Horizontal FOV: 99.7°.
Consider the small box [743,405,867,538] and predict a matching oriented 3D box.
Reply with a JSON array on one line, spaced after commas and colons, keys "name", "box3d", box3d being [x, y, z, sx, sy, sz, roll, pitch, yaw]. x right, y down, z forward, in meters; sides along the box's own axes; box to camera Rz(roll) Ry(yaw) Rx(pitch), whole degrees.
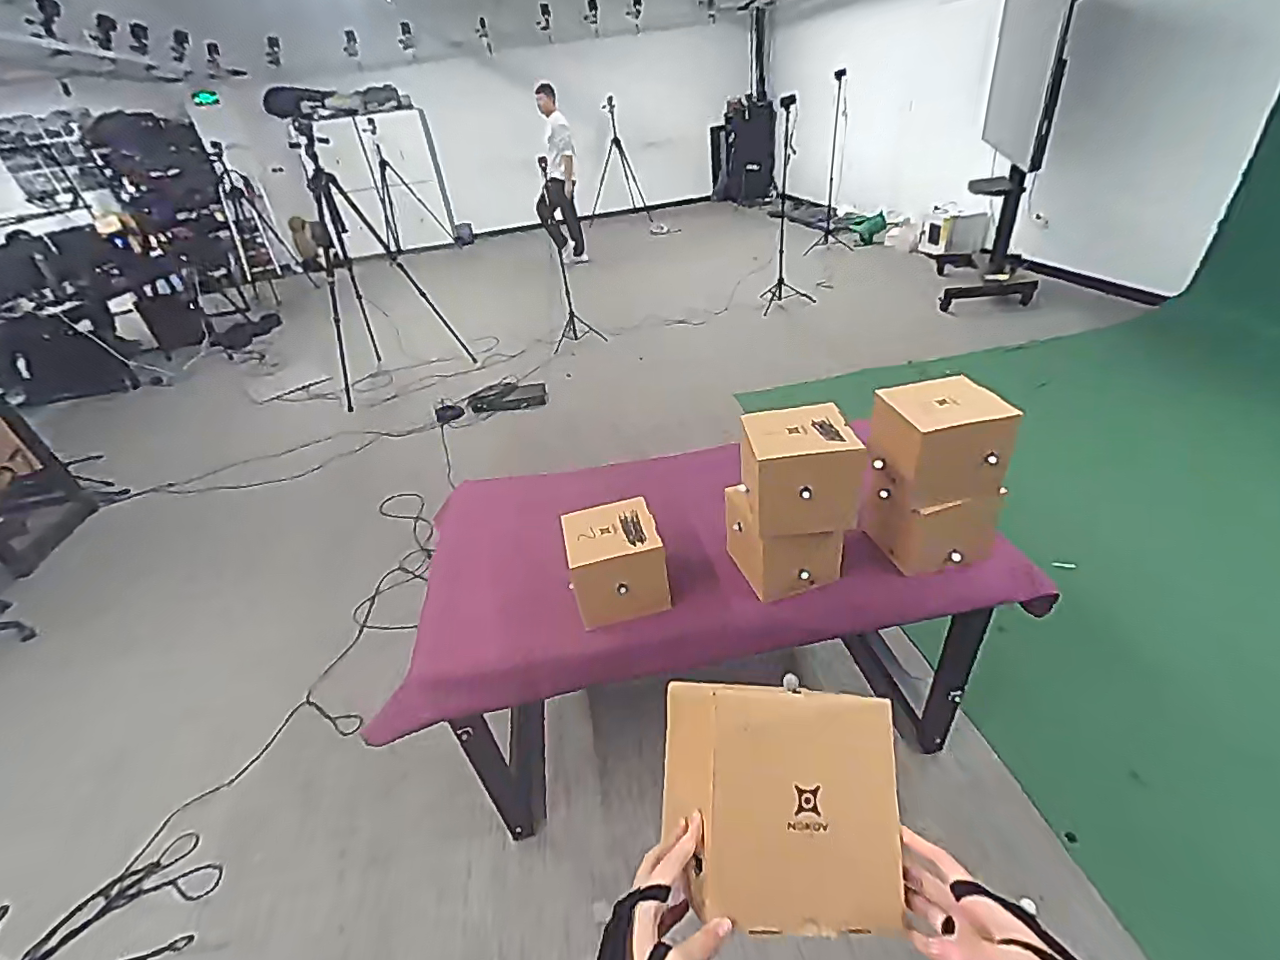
[{"name": "small box", "box3d": [0.284, -0.015, 0.970, 0.179, 0.176, 0.168, -7, 33, 4]}]

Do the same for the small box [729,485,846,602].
[{"name": "small box", "box3d": [0.286, 0.110, 1.080, 0.168, 0.176, 0.179, -15, 34, -8]}]

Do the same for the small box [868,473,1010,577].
[{"name": "small box", "box3d": [0.580, 0.065, 1.077, 0.179, 0.176, 0.168, -13, 34, -6]}]

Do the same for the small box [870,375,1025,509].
[{"name": "small box", "box3d": [0.547, -0.070, 0.990, 0.179, 0.176, 0.168, -11, 34, -1]}]
